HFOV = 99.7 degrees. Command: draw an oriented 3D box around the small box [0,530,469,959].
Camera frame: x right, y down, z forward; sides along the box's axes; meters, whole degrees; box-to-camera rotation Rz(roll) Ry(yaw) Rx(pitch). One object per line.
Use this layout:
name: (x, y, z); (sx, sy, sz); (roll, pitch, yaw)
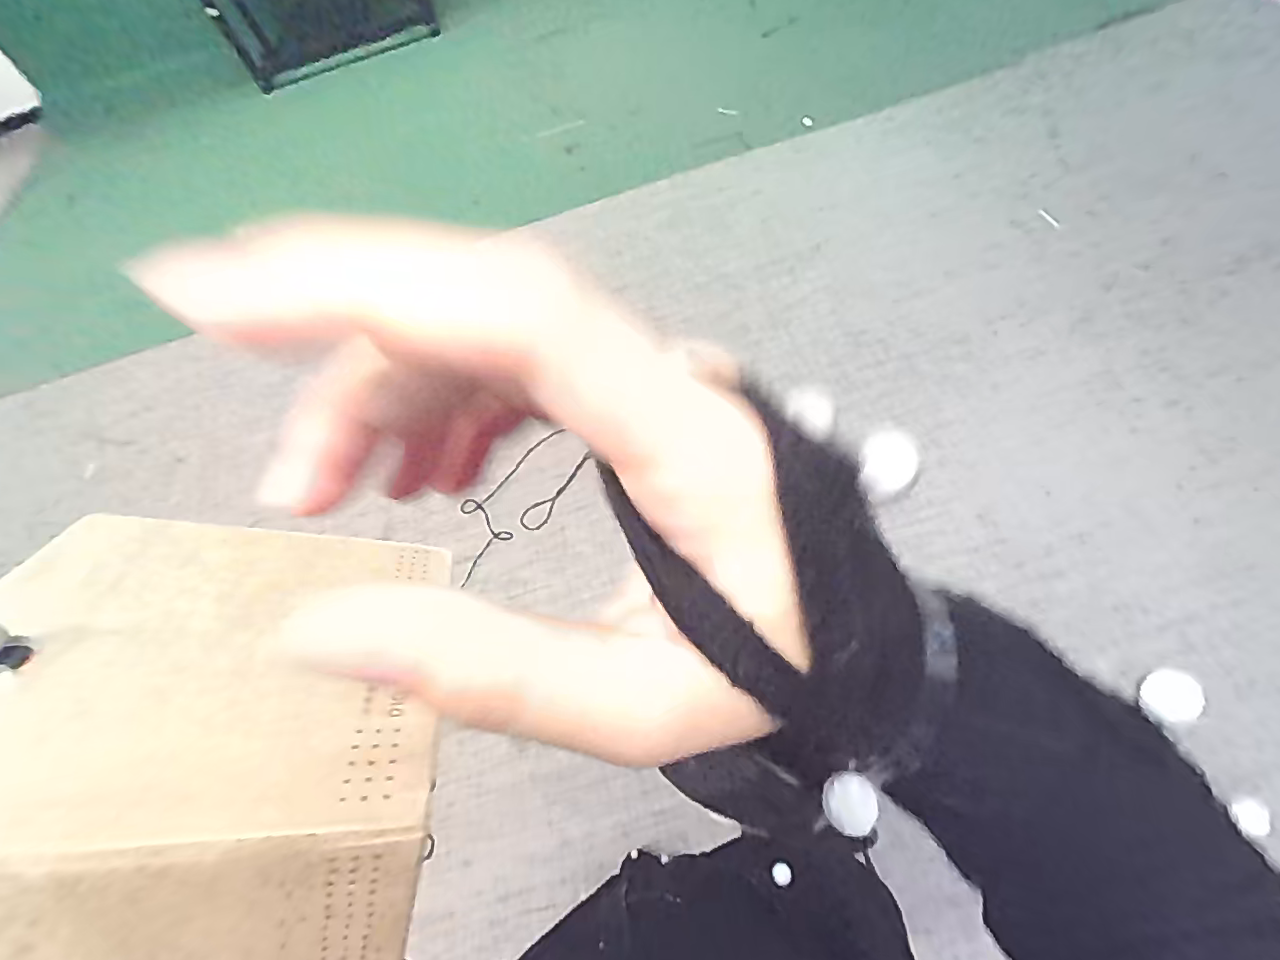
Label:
small box: (-0.181, 0.145, 0.251); (0.176, 0.179, 0.168); (8, 22, -20)
